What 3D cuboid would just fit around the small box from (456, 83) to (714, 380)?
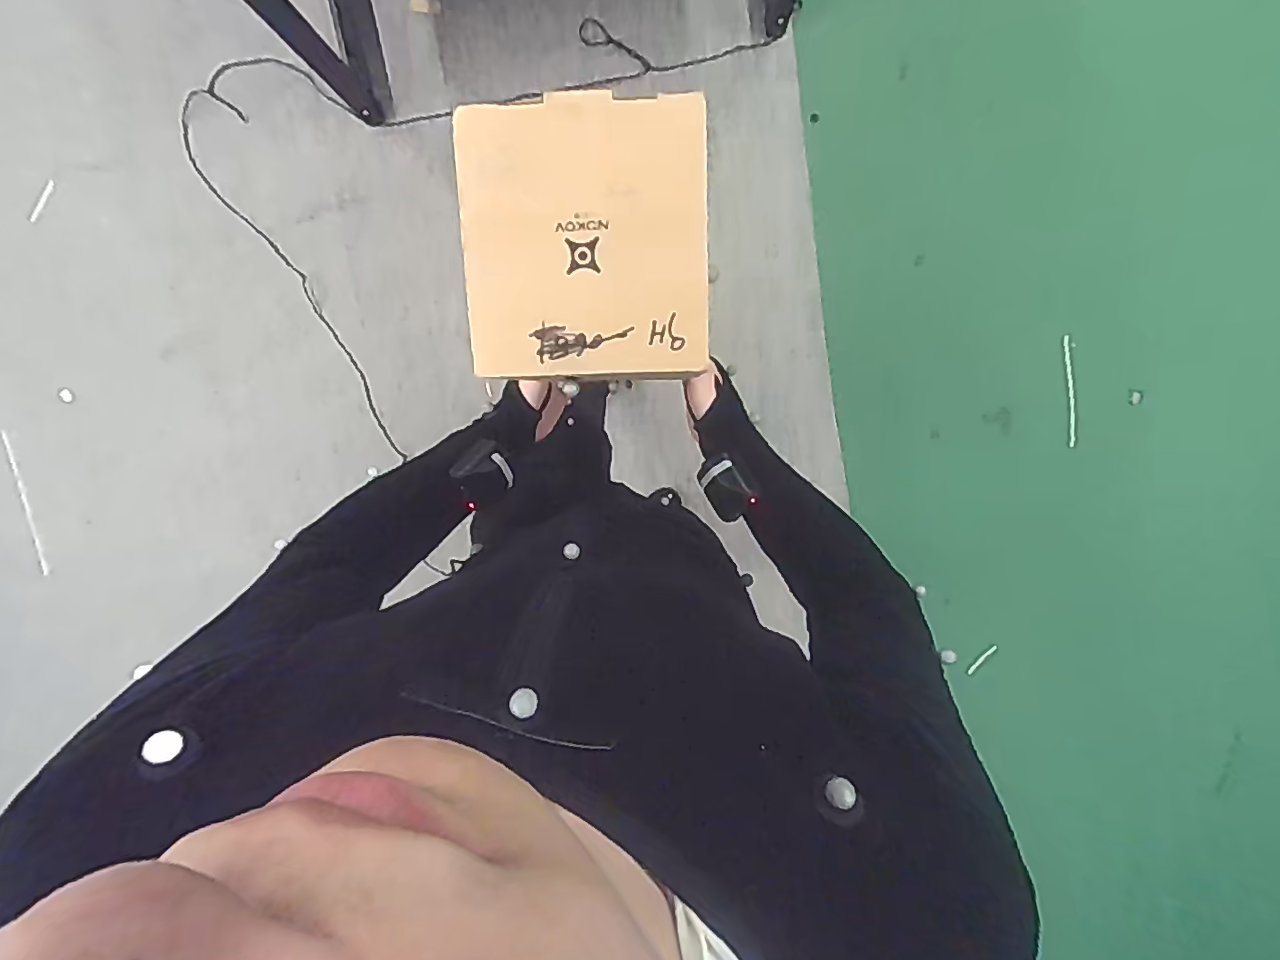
[{"bbox_3d":[-0.032,-0.172,0.429,0.168,0.176,0.179,-1,99,3],"label":"small box"}]
